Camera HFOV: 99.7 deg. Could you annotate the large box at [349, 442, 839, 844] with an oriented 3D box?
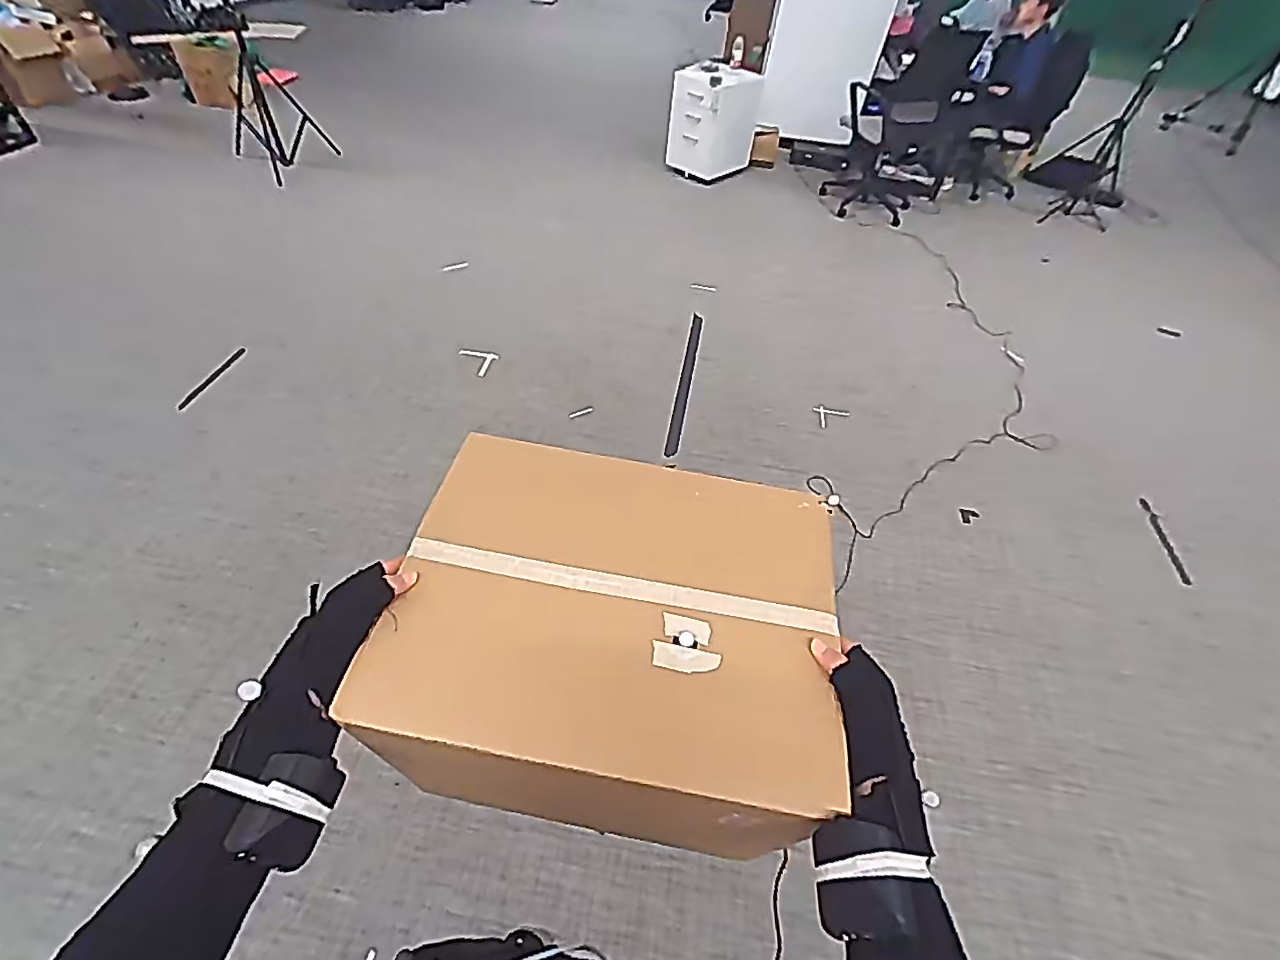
[{"bbox_3d":[-0.032,0.197,0.633,0.408,0.320,0.320,11,52,2],"label":"large box"}]
